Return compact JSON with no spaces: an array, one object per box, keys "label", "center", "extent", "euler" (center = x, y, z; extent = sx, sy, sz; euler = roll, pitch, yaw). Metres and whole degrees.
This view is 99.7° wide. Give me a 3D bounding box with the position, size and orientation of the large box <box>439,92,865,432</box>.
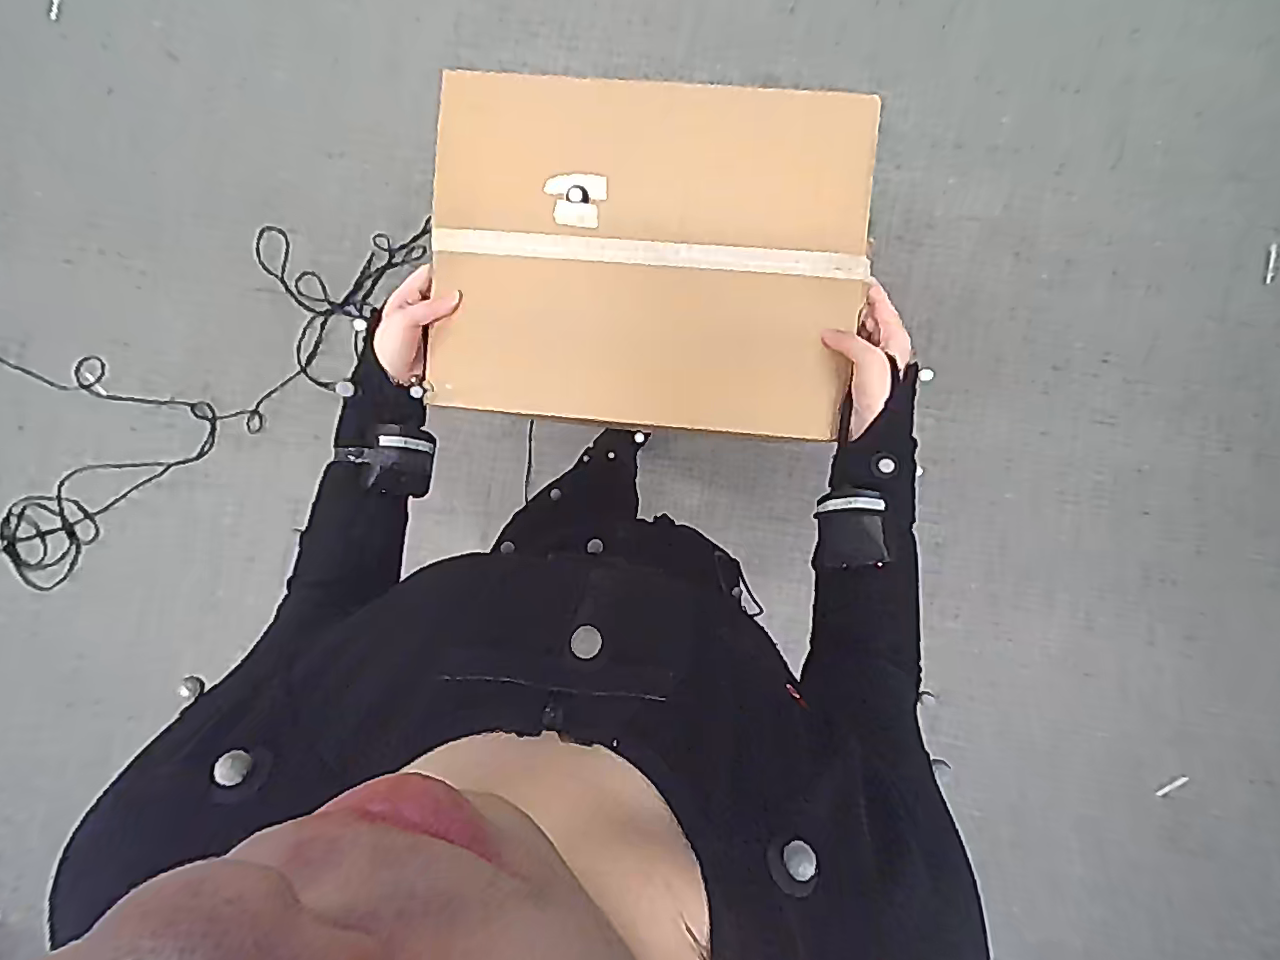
[{"label":"large box","center":[0.016,-0.224,0.671],"extent":[0.408,0.320,0.320],"euler":[5,94,5]}]
